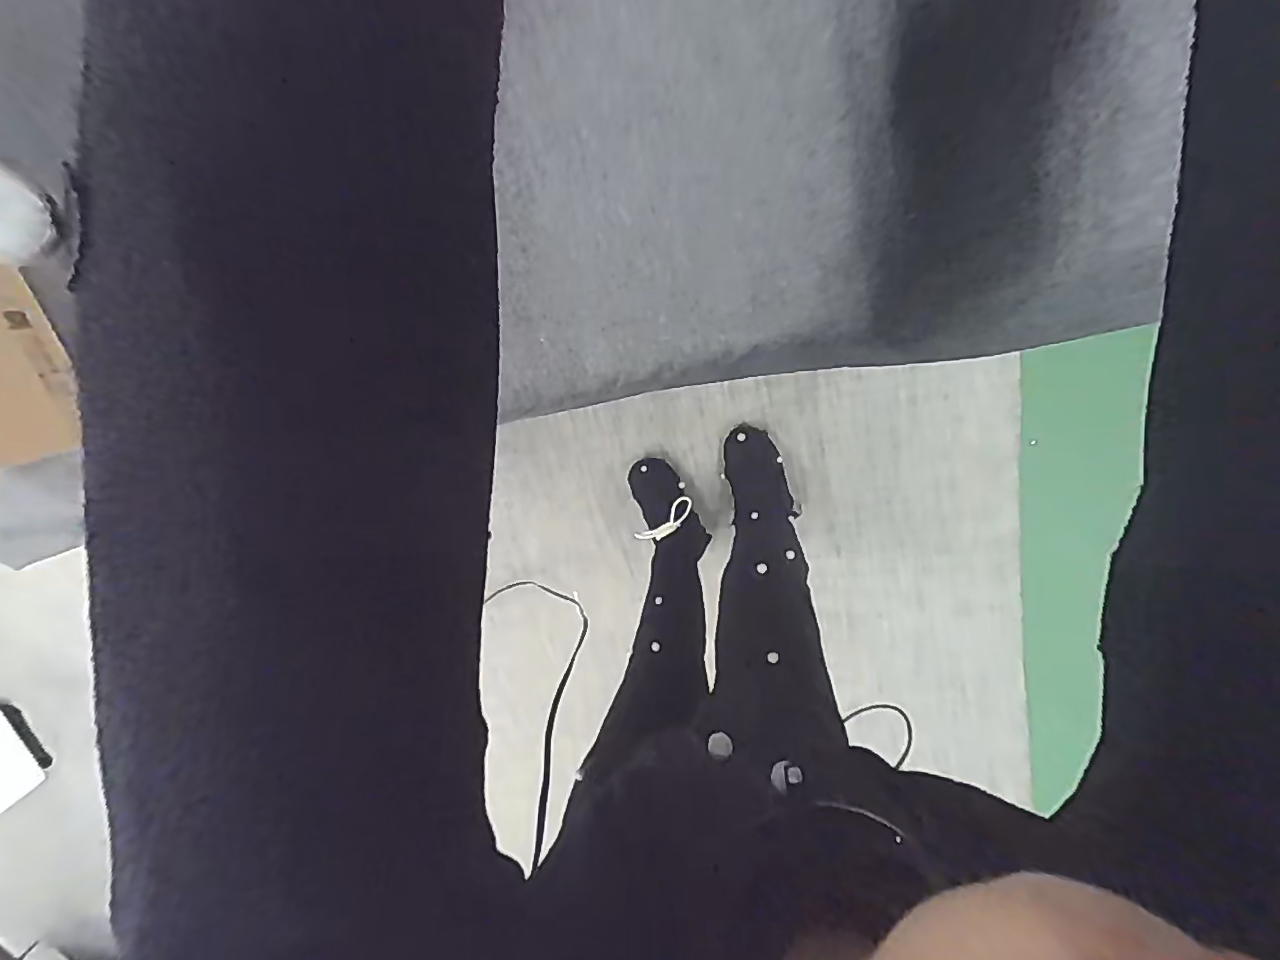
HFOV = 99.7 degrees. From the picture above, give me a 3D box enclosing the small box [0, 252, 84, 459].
[{"bbox_3d":[-0.574,-0.077,0.390,0.179,0.176,0.168,-8,110,15],"label":"small box"}]
